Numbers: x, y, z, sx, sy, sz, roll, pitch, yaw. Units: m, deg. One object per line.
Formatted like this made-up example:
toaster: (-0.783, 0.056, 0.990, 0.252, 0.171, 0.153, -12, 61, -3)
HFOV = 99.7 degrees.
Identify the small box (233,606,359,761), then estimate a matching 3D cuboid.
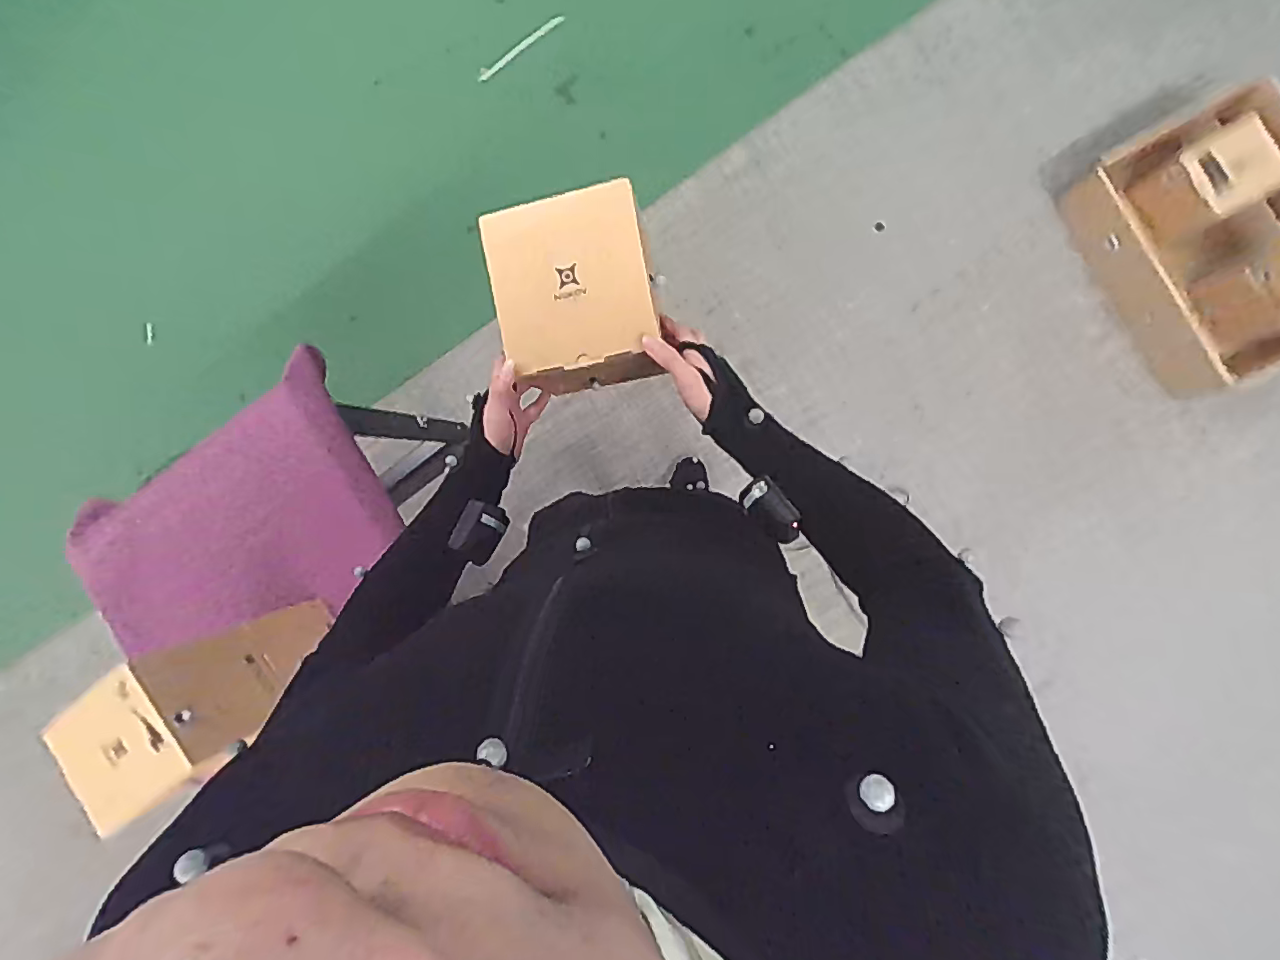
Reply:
small box: (-0.629, 0.343, 0.921, 0.179, 0.176, 0.168, -37, 87, 7)

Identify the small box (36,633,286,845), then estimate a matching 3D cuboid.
small box: (-0.654, 0.347, 0.758, 0.179, 0.176, 0.168, -38, 87, 9)

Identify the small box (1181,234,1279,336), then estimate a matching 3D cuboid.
small box: (1.458, -0.465, 1.267, 0.179, 0.176, 0.168, -29, 86, 8)

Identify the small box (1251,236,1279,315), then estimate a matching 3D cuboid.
small box: (1.433, -0.463, 1.106, 0.179, 0.176, 0.168, -27, 86, 7)
